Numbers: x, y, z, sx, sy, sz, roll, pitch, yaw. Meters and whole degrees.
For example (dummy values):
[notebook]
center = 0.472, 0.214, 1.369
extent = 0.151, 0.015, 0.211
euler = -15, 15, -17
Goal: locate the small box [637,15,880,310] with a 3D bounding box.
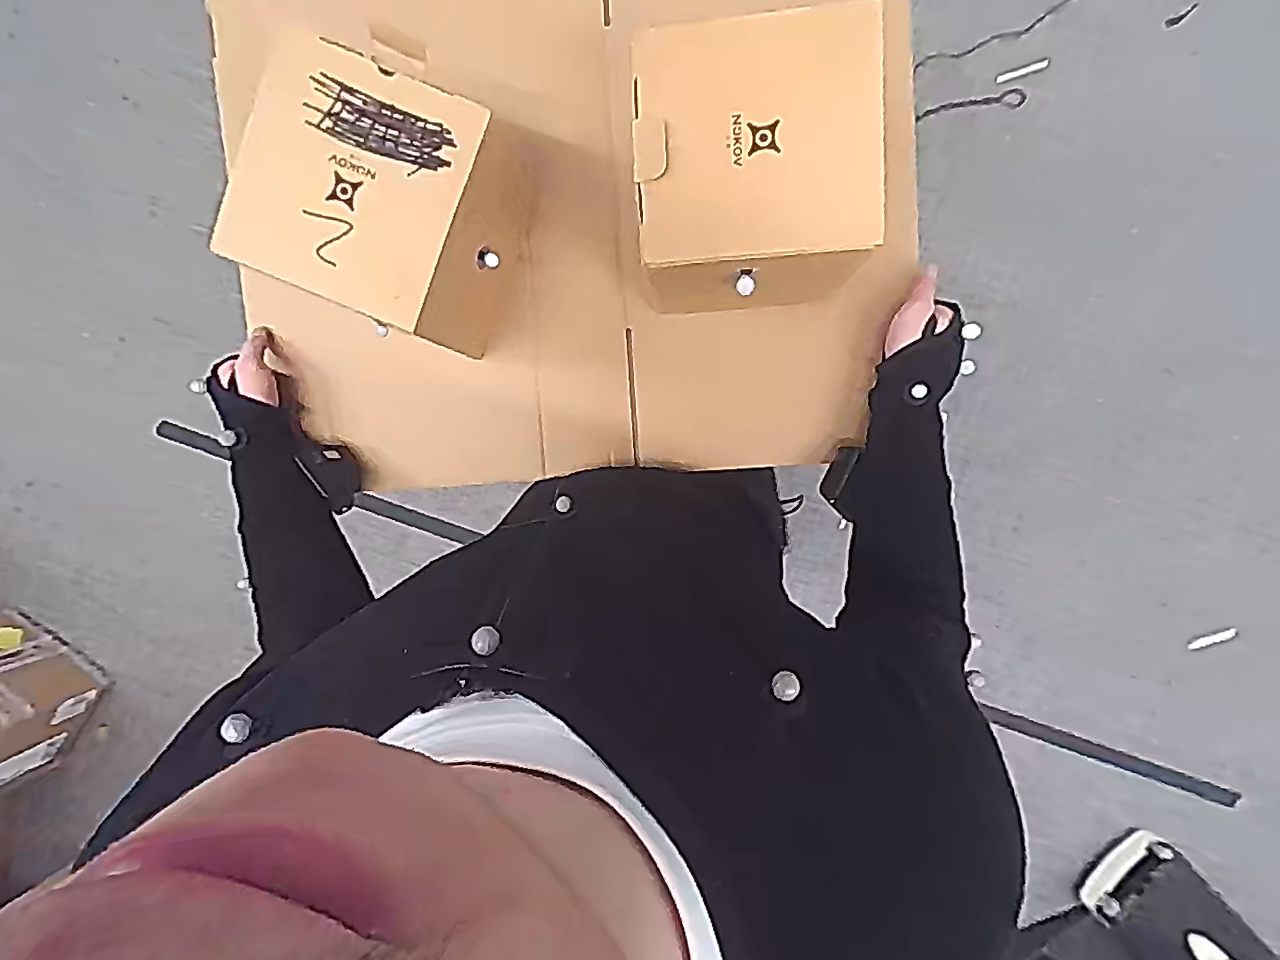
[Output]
[small box]
center = 0.095, -0.255, 0.480
extent = 0.179, 0.176, 0.168
euler = -2, 95, 7
